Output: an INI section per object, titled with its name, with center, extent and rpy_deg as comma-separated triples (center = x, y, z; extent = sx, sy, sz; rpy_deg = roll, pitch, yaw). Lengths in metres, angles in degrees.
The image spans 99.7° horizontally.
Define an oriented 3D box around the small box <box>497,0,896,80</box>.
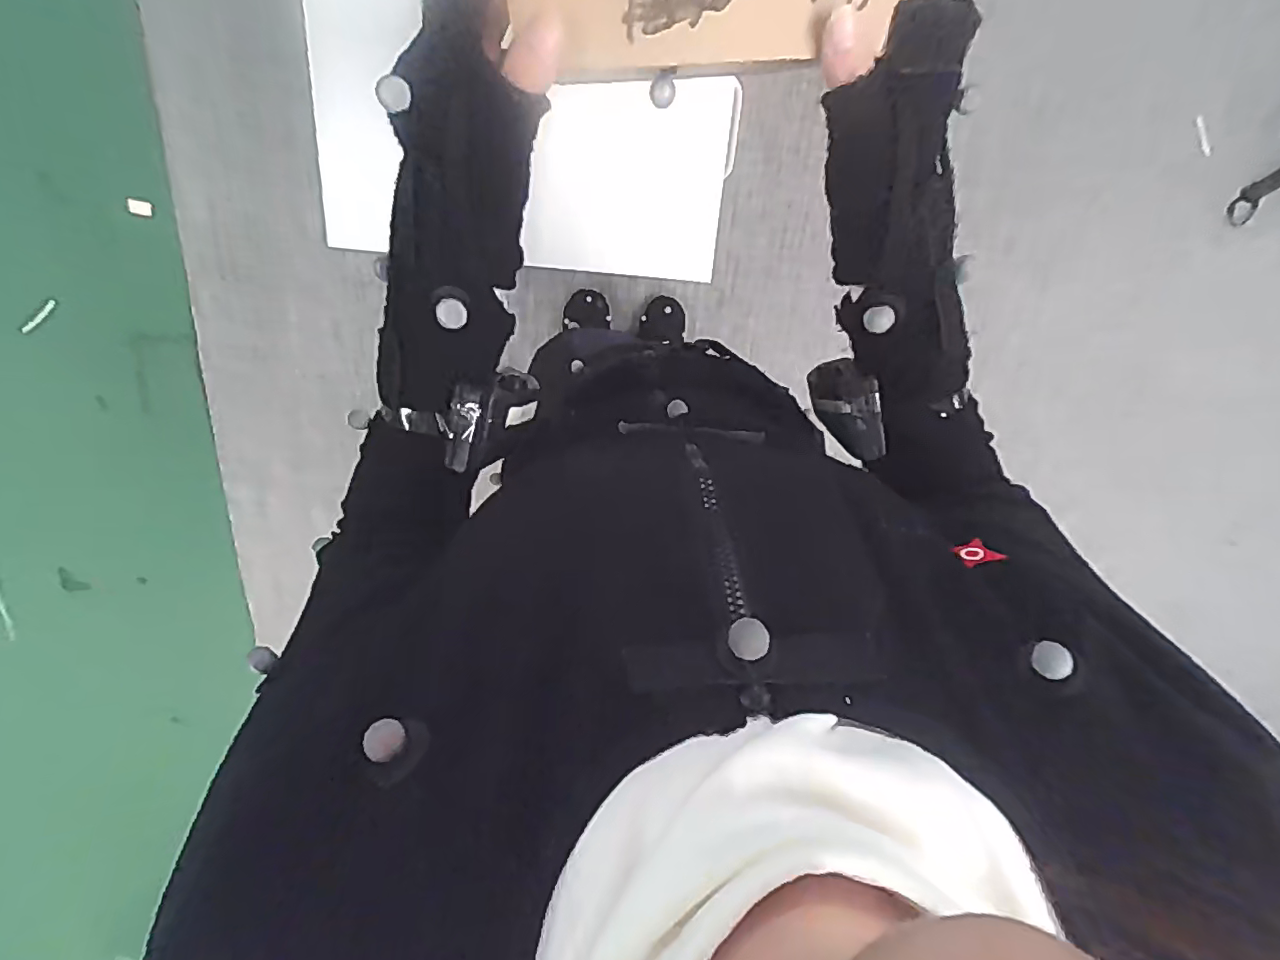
[small box]
center = 0.016, -0.297, 0.245
extent = 0.168, 0.176, 0.179
rpy_deg = -4, 125, -1
